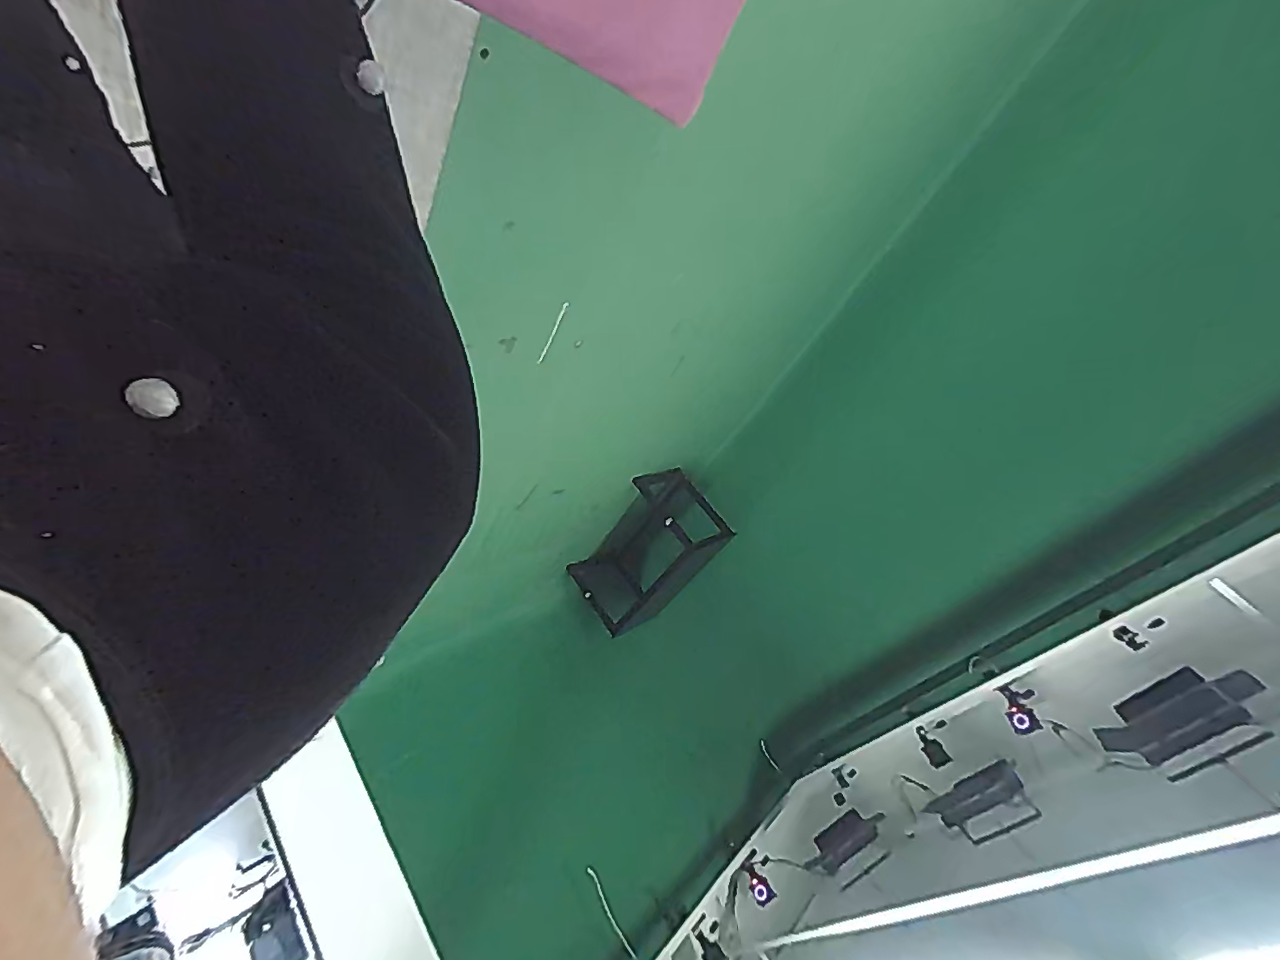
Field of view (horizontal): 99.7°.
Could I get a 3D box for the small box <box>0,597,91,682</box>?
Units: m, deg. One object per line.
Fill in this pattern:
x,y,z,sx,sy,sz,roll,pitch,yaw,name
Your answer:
-1.920,0.509,1.738,0.179,0.176,0.168,-18,151,-43,small box
